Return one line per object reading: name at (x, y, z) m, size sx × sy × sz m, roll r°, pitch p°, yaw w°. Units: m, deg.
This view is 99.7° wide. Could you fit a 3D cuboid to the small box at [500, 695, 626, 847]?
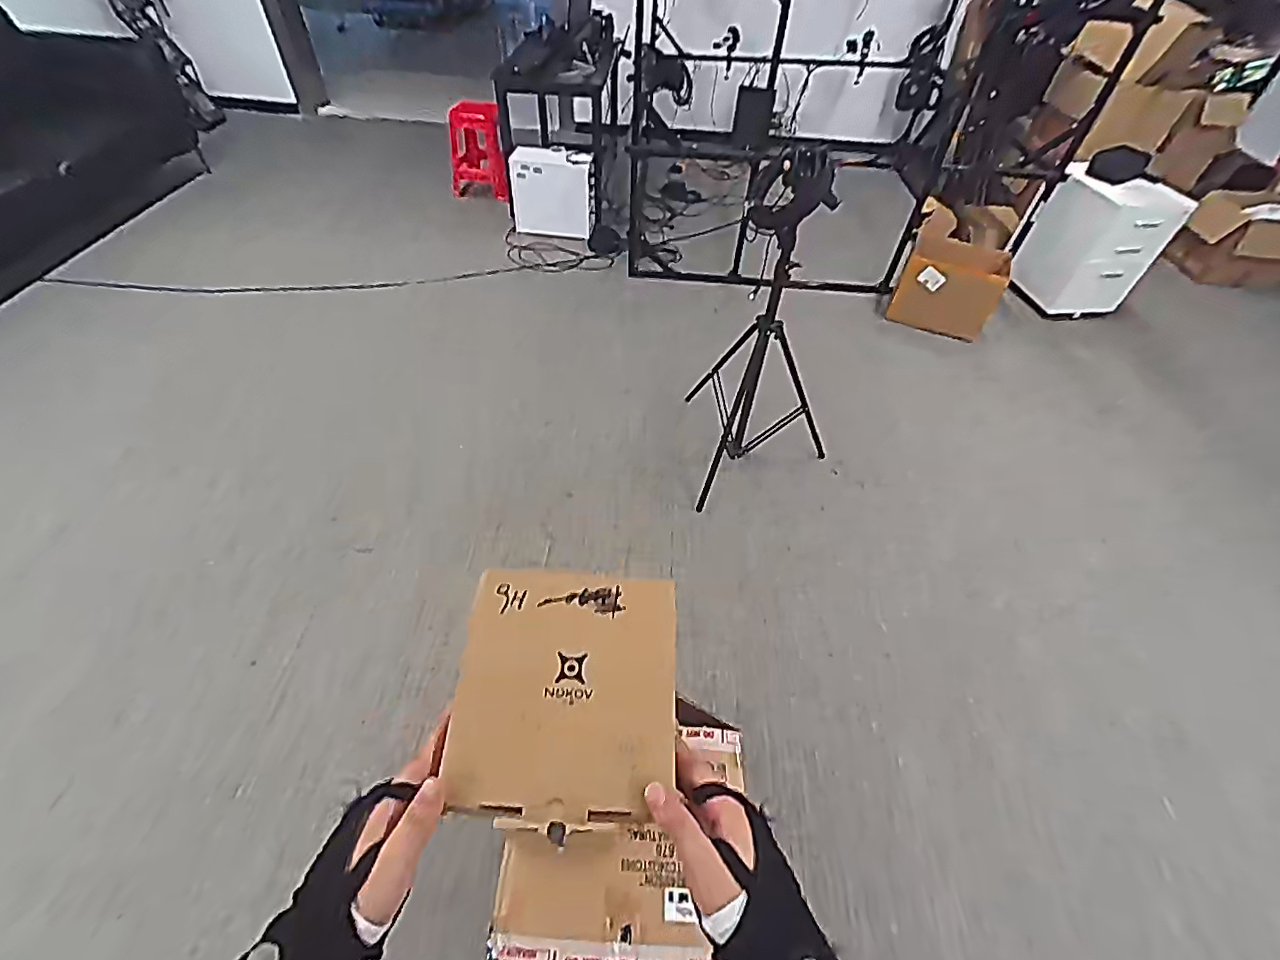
small box at (-0.107, 0.452, 0.839) m, size 0.168 × 0.176 × 0.179 m, roll 1°, pitch 50°, yaw 1°
